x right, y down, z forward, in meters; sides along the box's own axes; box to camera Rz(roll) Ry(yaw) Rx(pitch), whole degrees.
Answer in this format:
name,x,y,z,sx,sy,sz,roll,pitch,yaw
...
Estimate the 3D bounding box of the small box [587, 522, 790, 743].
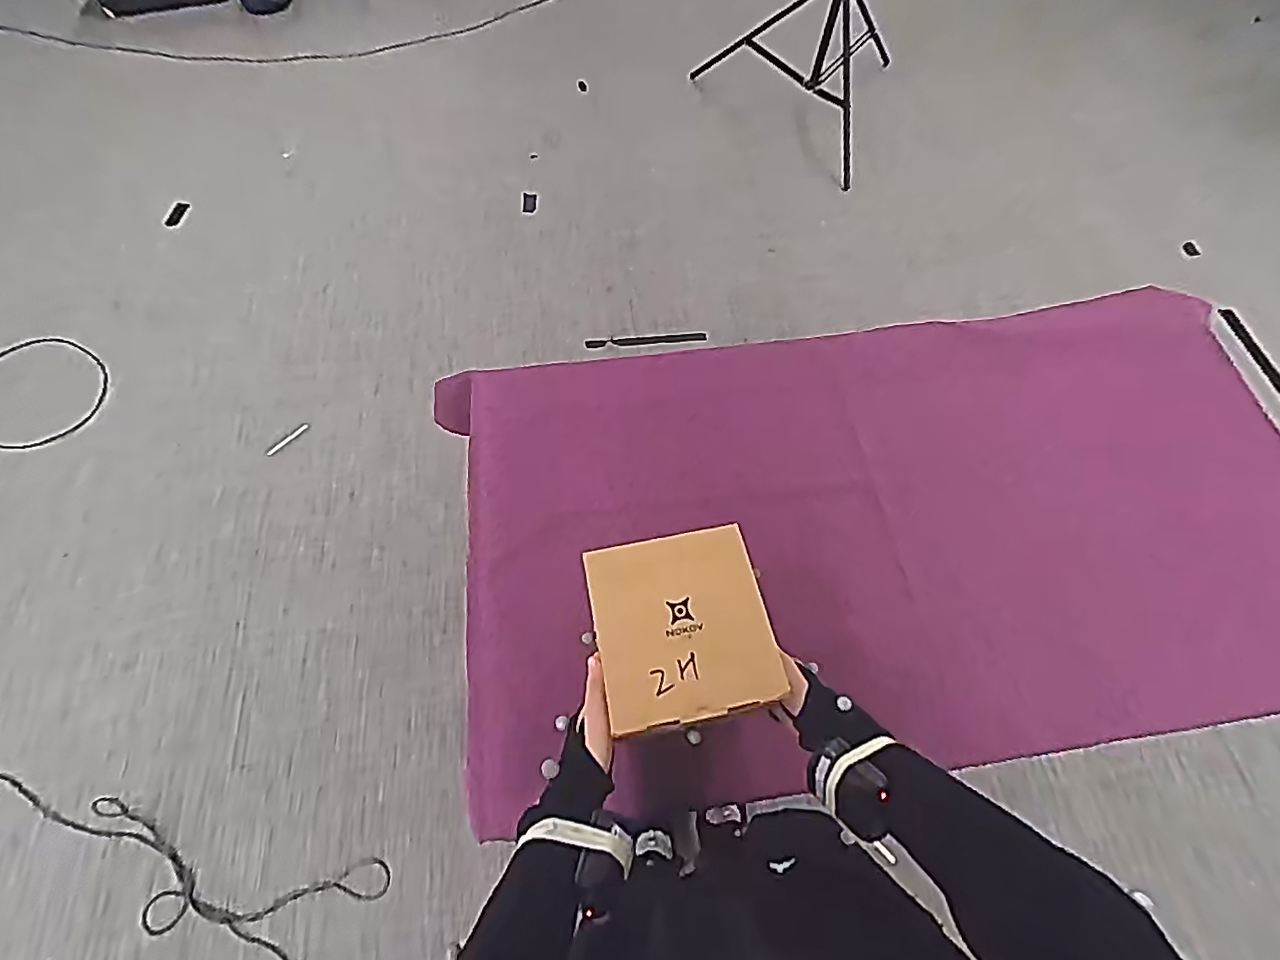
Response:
name,x,y,z,sx,sy,sz,roll,pitch,yaw
small box,0.039,0.170,0.585,0.168,0.176,0.179,-10,61,-5
